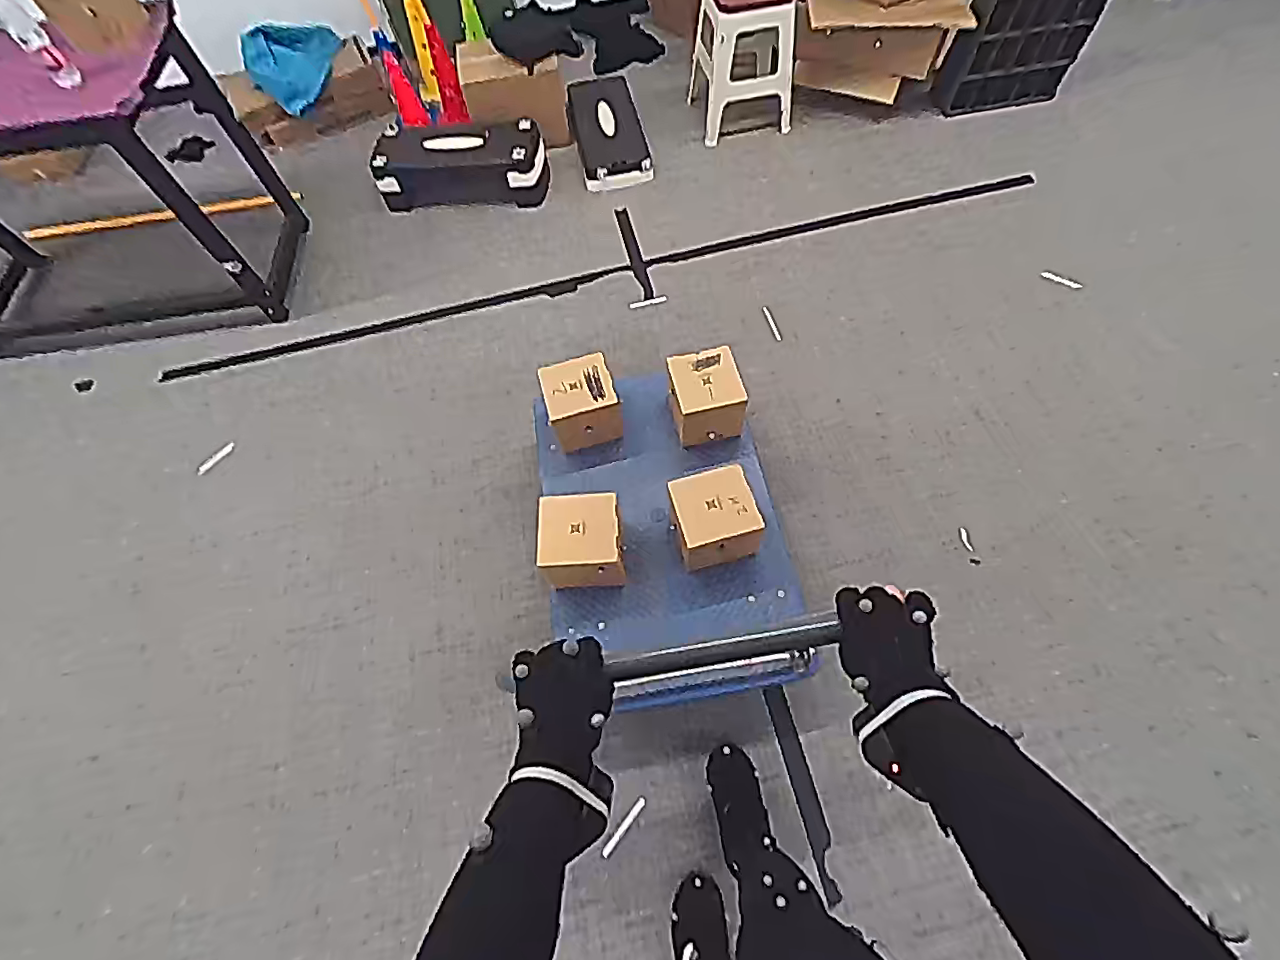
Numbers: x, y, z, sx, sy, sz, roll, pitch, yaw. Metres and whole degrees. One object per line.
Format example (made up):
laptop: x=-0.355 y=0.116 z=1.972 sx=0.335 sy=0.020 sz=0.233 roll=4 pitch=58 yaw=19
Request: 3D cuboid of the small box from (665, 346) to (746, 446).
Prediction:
small box: x=0.162 y=-0.213 z=1.395 sx=0.168 sy=0.176 sz=0.179 roll=-13 pitch=64 yaw=-2

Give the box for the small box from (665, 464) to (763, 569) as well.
small box: x=0.165 y=0.091 z=1.243 sx=0.179 sy=0.176 sz=0.168 roll=-15 pitch=64 yaw=-4

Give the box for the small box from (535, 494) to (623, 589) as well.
small box: x=-0.134 y=0.146 z=1.238 sx=0.179 sy=0.176 sz=0.168 roll=-4 pitch=63 yaw=0
